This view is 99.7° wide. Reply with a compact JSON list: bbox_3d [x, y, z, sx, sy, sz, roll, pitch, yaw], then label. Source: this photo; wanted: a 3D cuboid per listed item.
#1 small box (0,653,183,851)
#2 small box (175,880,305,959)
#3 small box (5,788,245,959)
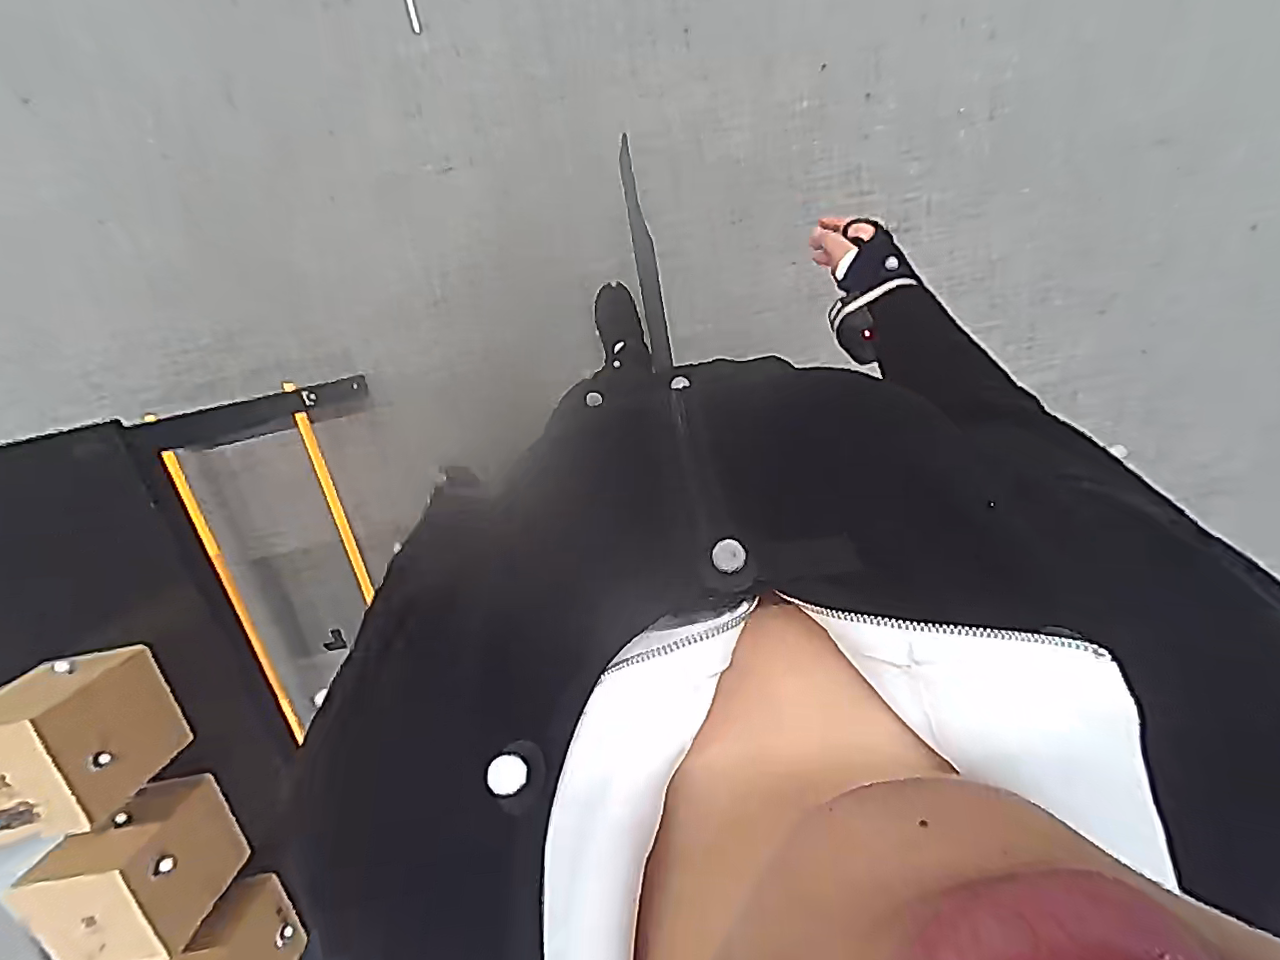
[{"bbox_3d":[-0.803,0.372,0.755,0.168,0.176,0.179,-11,106,2],"label":"small box"},{"bbox_3d":[-0.701,0.803,0.884,0.179,0.176,0.168,-12,107,2],"label":"small box"},{"bbox_3d":[-0.760,0.600,0.822,0.168,0.176,0.179,-10,106,3],"label":"small box"}]
